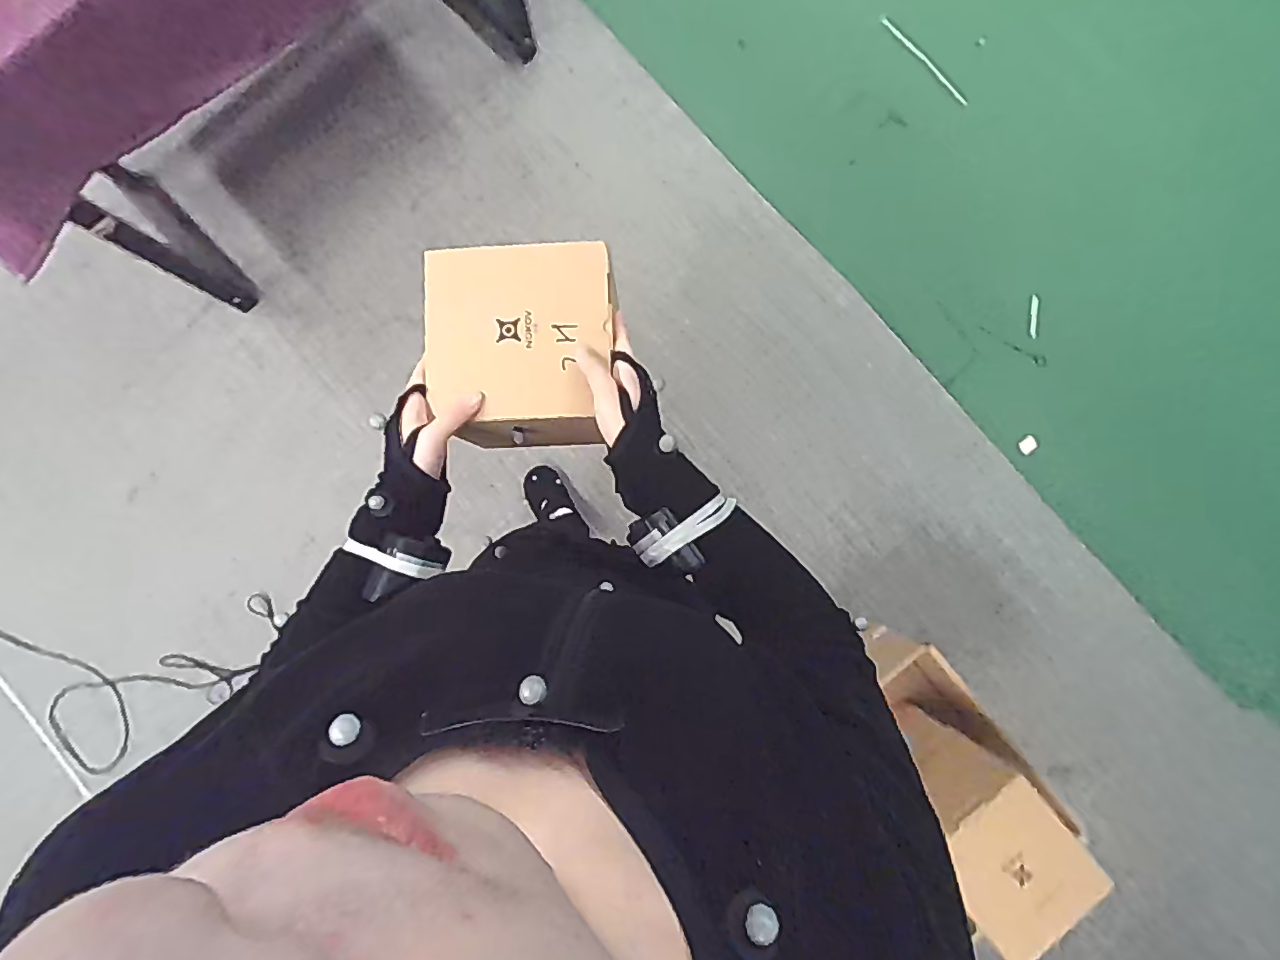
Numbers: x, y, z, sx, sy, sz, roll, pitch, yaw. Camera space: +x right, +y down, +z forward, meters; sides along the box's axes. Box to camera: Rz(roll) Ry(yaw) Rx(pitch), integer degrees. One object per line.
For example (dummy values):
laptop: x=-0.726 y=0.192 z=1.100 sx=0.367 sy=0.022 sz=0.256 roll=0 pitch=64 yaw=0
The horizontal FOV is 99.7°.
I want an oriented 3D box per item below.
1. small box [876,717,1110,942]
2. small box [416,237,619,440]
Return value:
small box: x=0.472 y=0.463 z=0.756 sx=0.168 sy=0.176 sz=0.179 roll=-40 pitch=86 yaw=-2
small box: x=-0.118 y=-0.136 z=0.579 sx=0.179 sy=0.176 sz=0.168 roll=-2 pitch=86 yaw=2
